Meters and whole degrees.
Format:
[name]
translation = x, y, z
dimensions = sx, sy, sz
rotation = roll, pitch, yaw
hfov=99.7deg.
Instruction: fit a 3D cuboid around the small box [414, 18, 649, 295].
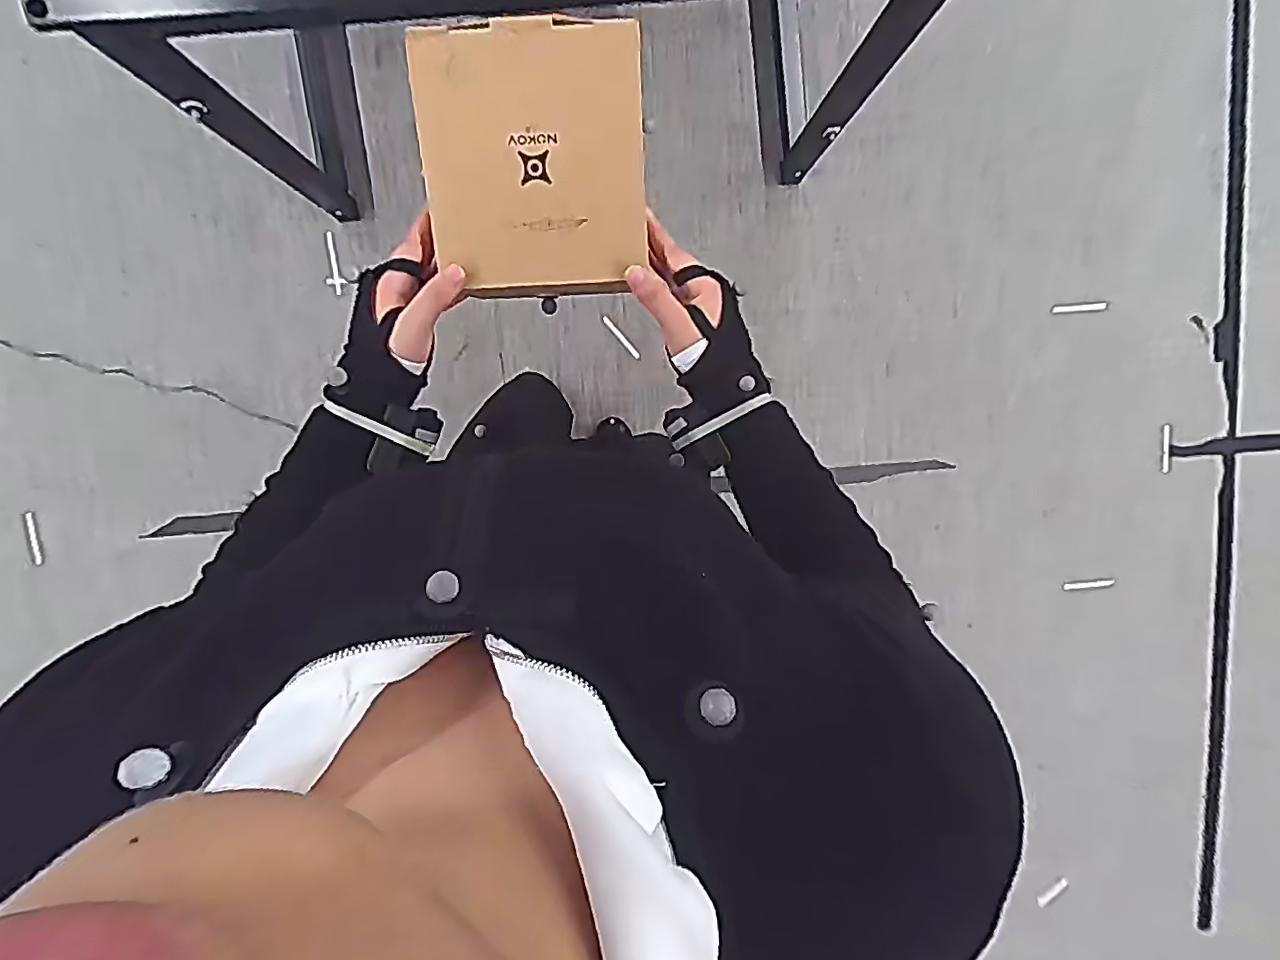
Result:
[small box]
translation = -0.082, -0.267, 0.486
dimensions = 0.168, 0.176, 0.179
rotation = -3, 106, -2
